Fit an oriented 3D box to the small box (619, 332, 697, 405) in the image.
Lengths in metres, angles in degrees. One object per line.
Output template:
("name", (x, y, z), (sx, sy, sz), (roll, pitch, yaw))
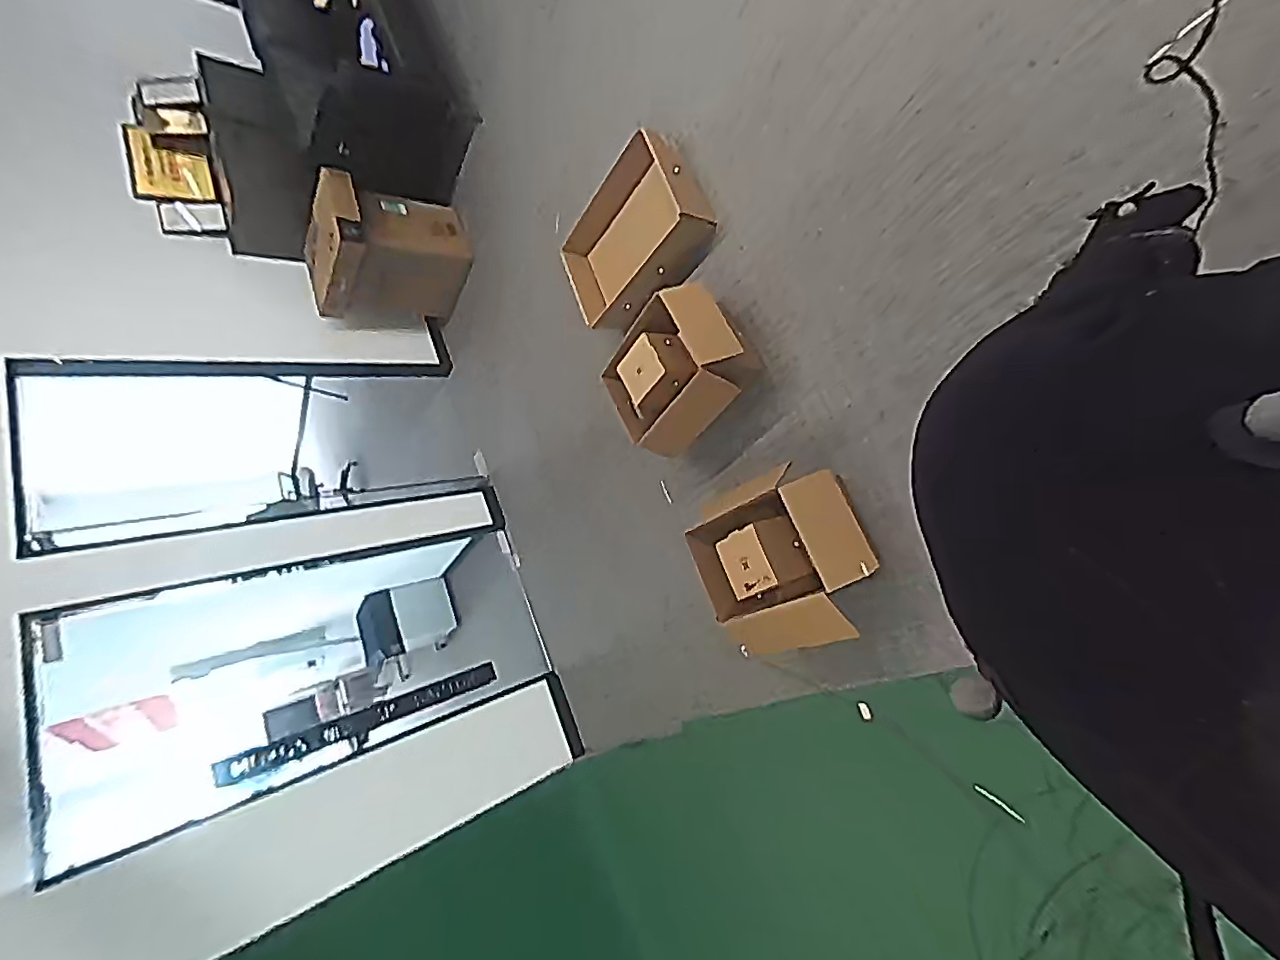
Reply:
("small box", (0.066, -0.364, 1.779), (0.179, 0.176, 0.168), (-46, 62, 42))
